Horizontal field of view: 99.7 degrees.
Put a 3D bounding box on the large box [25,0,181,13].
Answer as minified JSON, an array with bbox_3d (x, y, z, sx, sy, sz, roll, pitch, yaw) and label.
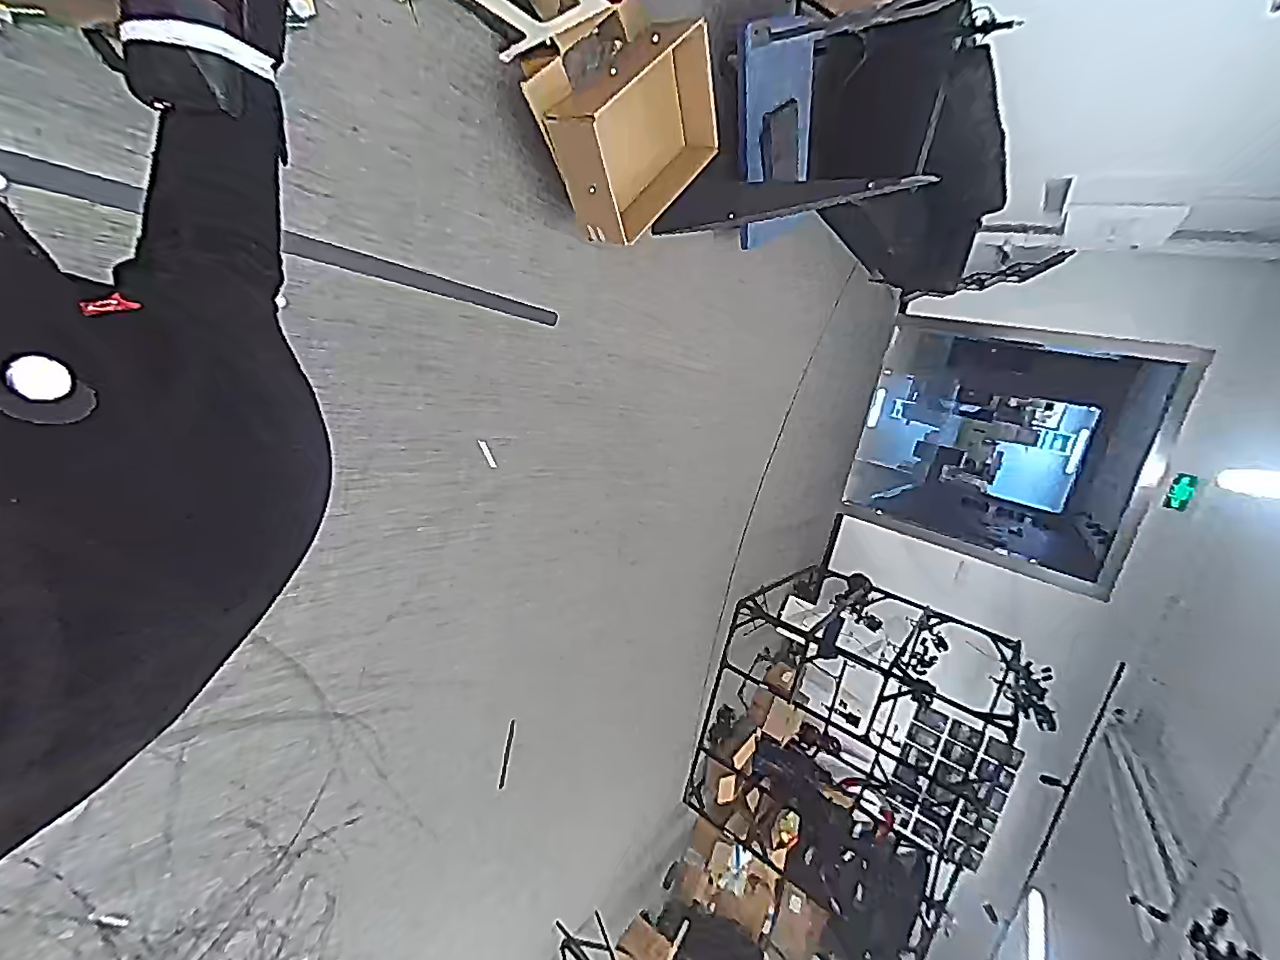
[{"bbox_3d":[-0.489,-0.487,0.223,0.408,0.320,0.320,-9,123,-56],"label":"large box"}]
